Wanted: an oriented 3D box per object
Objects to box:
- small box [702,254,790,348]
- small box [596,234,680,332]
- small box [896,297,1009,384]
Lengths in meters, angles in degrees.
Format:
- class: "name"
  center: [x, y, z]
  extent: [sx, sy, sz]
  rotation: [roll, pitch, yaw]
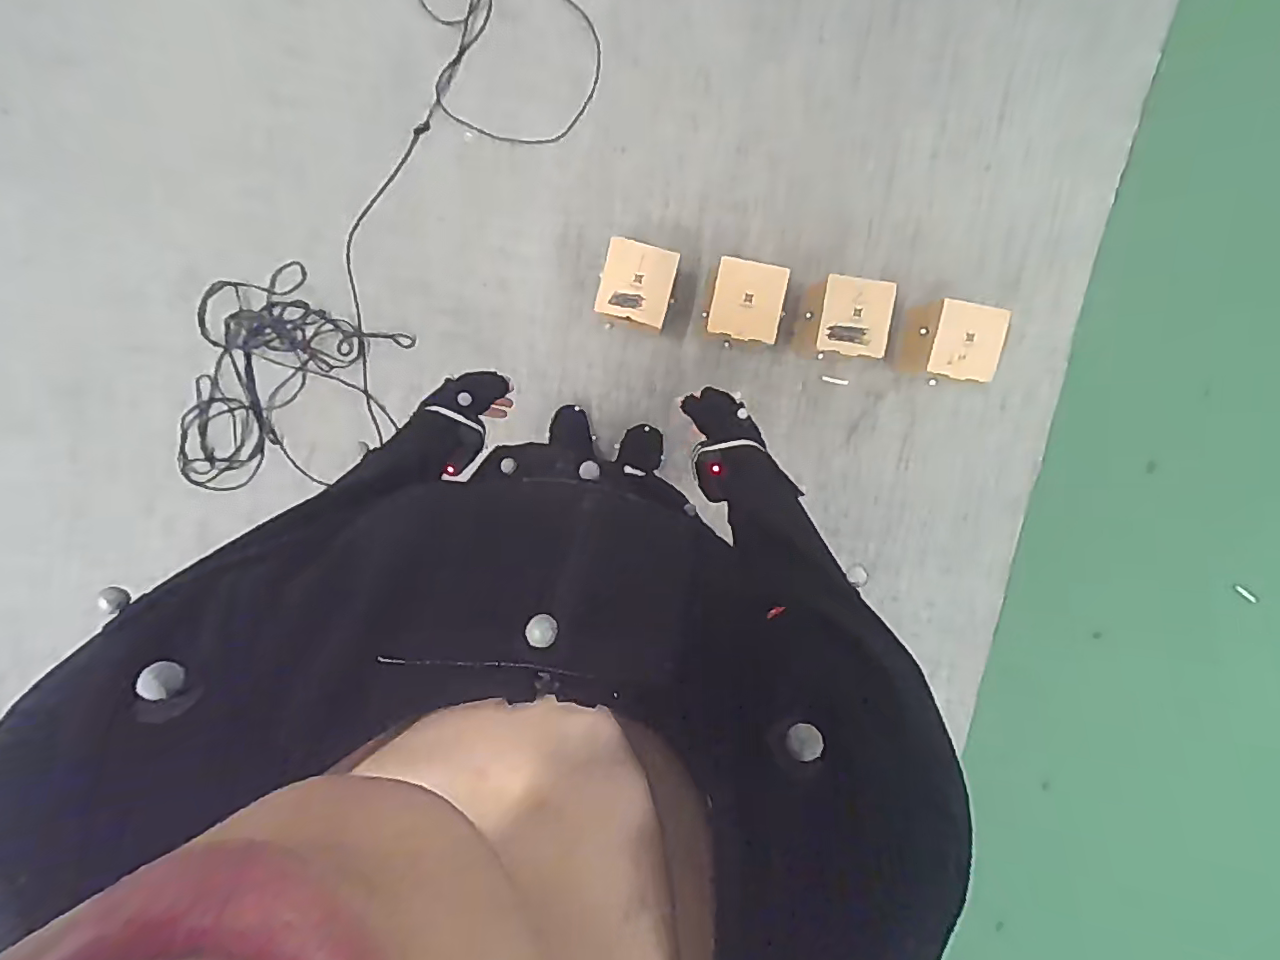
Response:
- class: "small box"
  center: [0.255, -0.436, 1.344]
  extent: [0.168, 0.176, 0.179]
  rotation: [11, 99, -1]
- class: "small box"
  center: [-0.004, -0.475, 1.336]
  extent: [0.168, 0.176, 0.179]
  rotation: [15, 98, -2]
- class: "small box"
  center: [0.776, -0.345, 1.364]
  extent: [0.168, 0.176, 0.179]
  rotation: [11, 99, -2]
